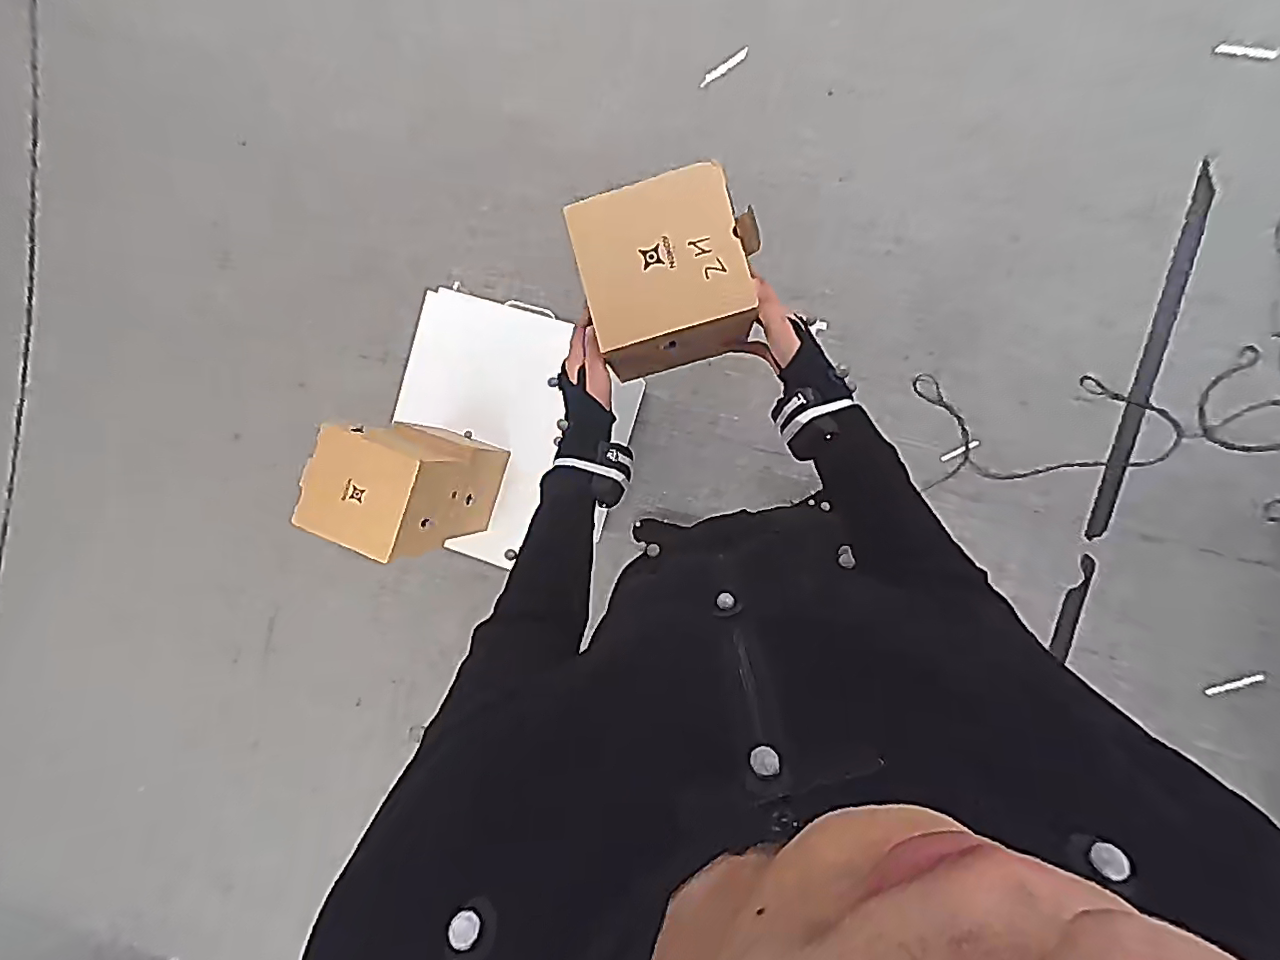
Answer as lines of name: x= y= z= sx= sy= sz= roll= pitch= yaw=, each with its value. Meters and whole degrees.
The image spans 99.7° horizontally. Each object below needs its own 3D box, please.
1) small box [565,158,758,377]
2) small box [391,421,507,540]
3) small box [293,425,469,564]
small box: x=0.029 y=-0.235 z=0.647 sx=0.179 sy=0.176 sz=0.168 roll=-15 pitch=88 yaw=4
small box: x=-0.379 y=0.000 z=1.046 sx=0.168 sy=0.176 sz=0.179 roll=18 pitch=93 yaw=9
small box: x=-0.411 y=0.018 z=0.887 sx=0.179 sy=0.176 sz=0.168 roll=20 pitch=94 yaw=9
